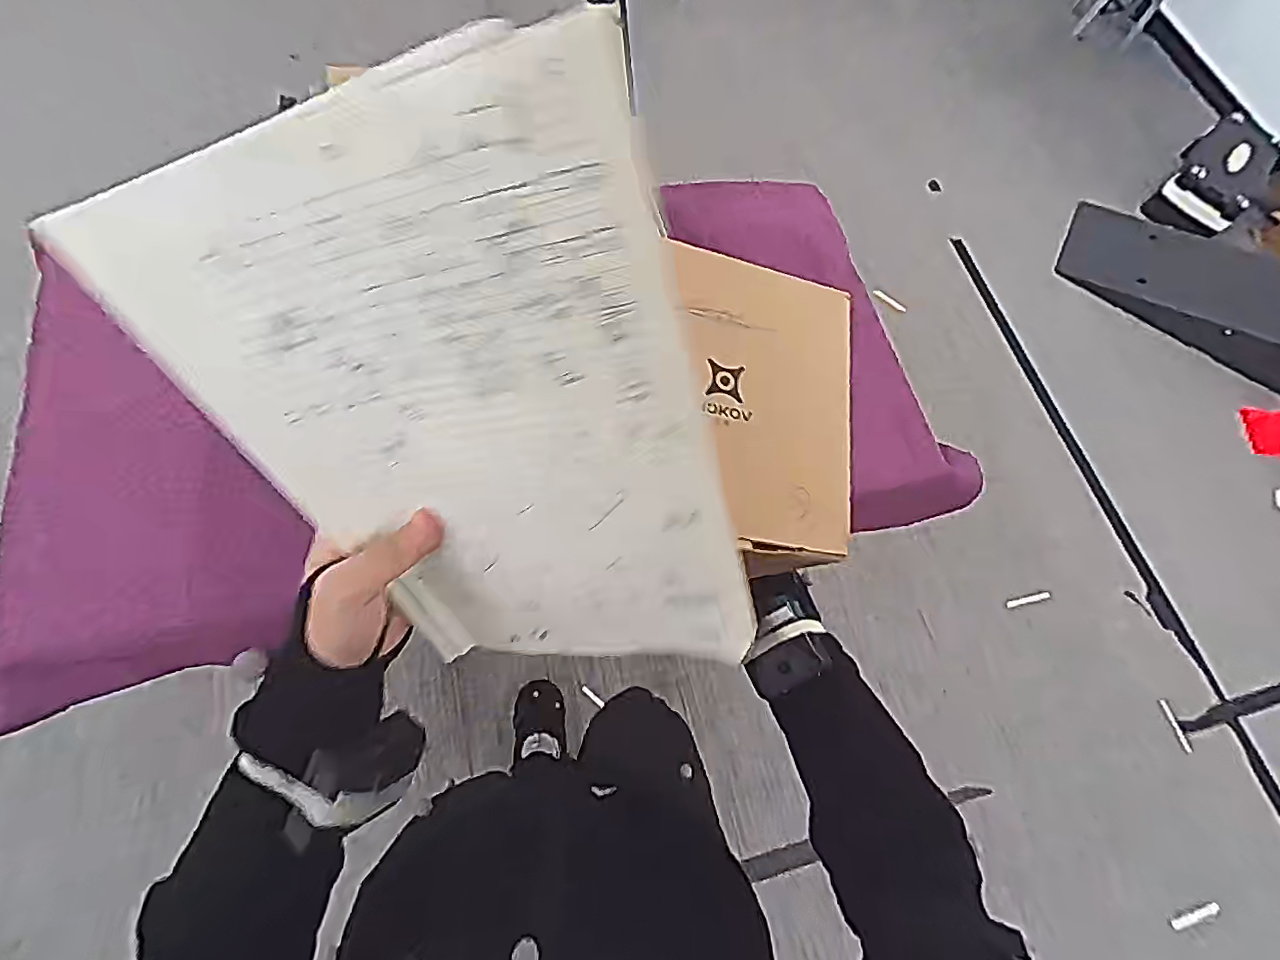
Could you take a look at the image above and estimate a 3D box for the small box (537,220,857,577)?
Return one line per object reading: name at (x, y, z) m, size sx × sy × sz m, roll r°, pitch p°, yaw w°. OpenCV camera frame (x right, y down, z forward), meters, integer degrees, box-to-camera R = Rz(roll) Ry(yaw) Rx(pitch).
small box at (0.027, -0.032, 0.375) m, size 0.168 × 0.176 × 0.179 m, roll 10°, pitch 72°, yaw -14°
